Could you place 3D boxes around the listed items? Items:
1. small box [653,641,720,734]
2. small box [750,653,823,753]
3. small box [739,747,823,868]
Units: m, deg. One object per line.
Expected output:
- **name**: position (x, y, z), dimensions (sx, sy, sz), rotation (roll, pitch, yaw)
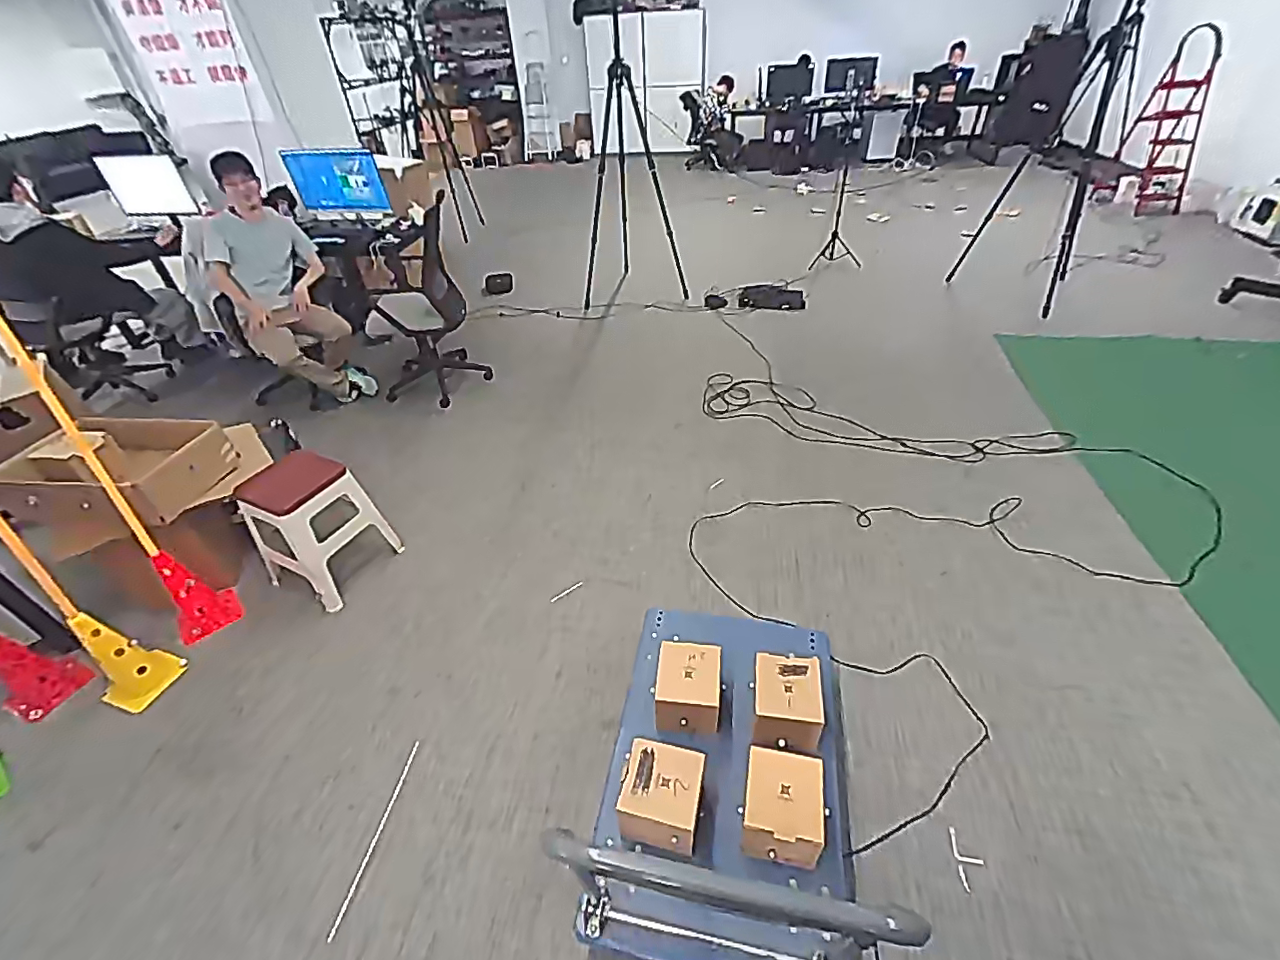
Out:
- **small box**: position (0.130, 0.567, 1.471), dimensions (0.168, 0.176, 0.179), rotation (4, 41, 8)
- **small box**: position (0.381, 0.589, 1.428), dimensions (0.168, 0.176, 0.179), rotation (4, 42, 10)
- **small box**: position (0.321, 0.752, 1.243), dimensions (0.168, 0.176, 0.179), rotation (7, 42, 12)
